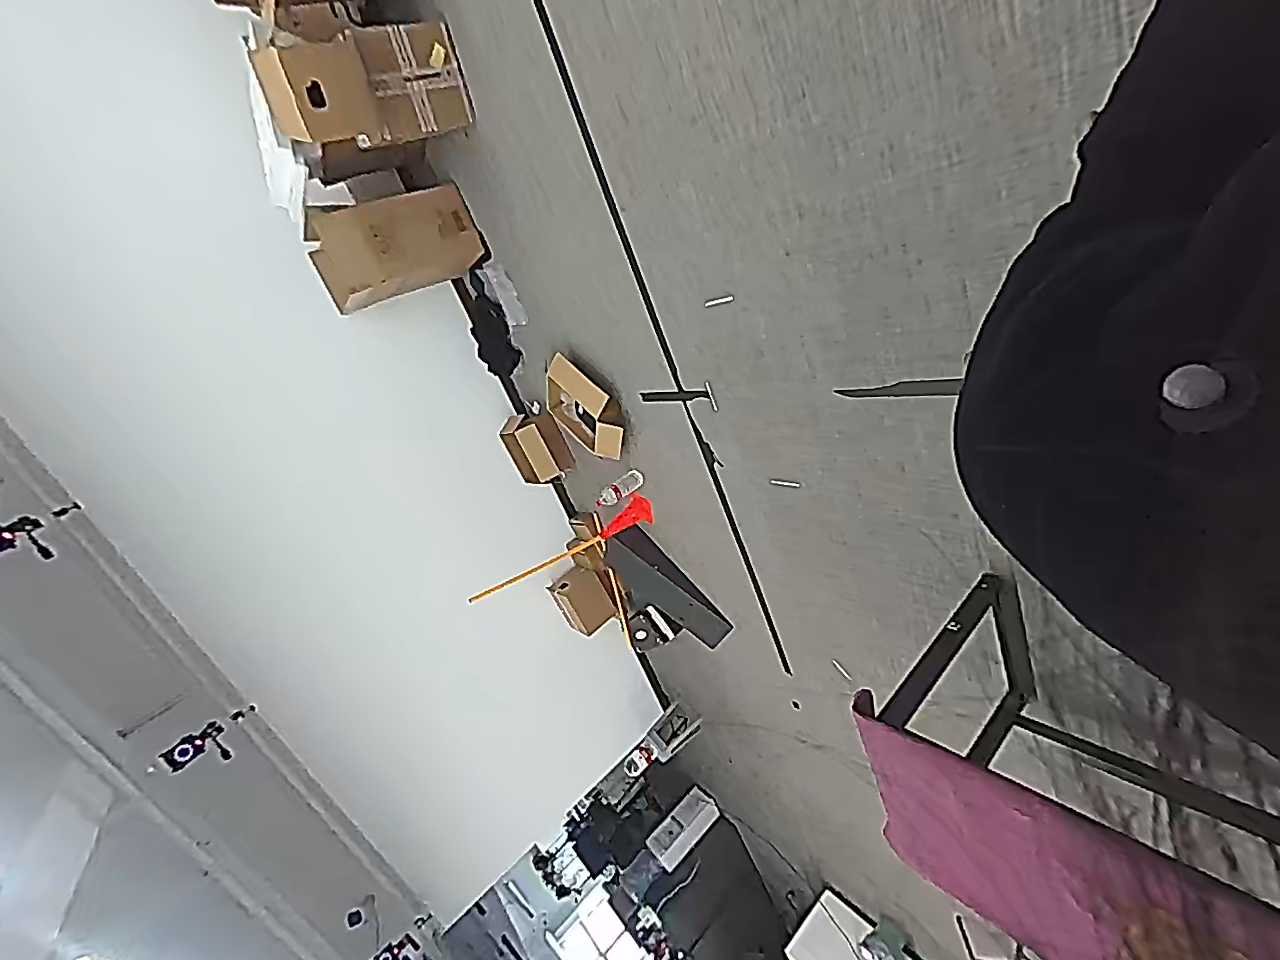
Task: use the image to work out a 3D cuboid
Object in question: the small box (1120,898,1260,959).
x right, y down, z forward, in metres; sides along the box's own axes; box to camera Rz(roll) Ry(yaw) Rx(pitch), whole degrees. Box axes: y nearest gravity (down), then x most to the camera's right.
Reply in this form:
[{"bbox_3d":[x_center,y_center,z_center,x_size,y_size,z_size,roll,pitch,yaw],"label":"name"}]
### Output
[{"bbox_3d":[0.958,0.896,0.940,0.168,0.176,0.179,12,131,53],"label":"small box"}]
